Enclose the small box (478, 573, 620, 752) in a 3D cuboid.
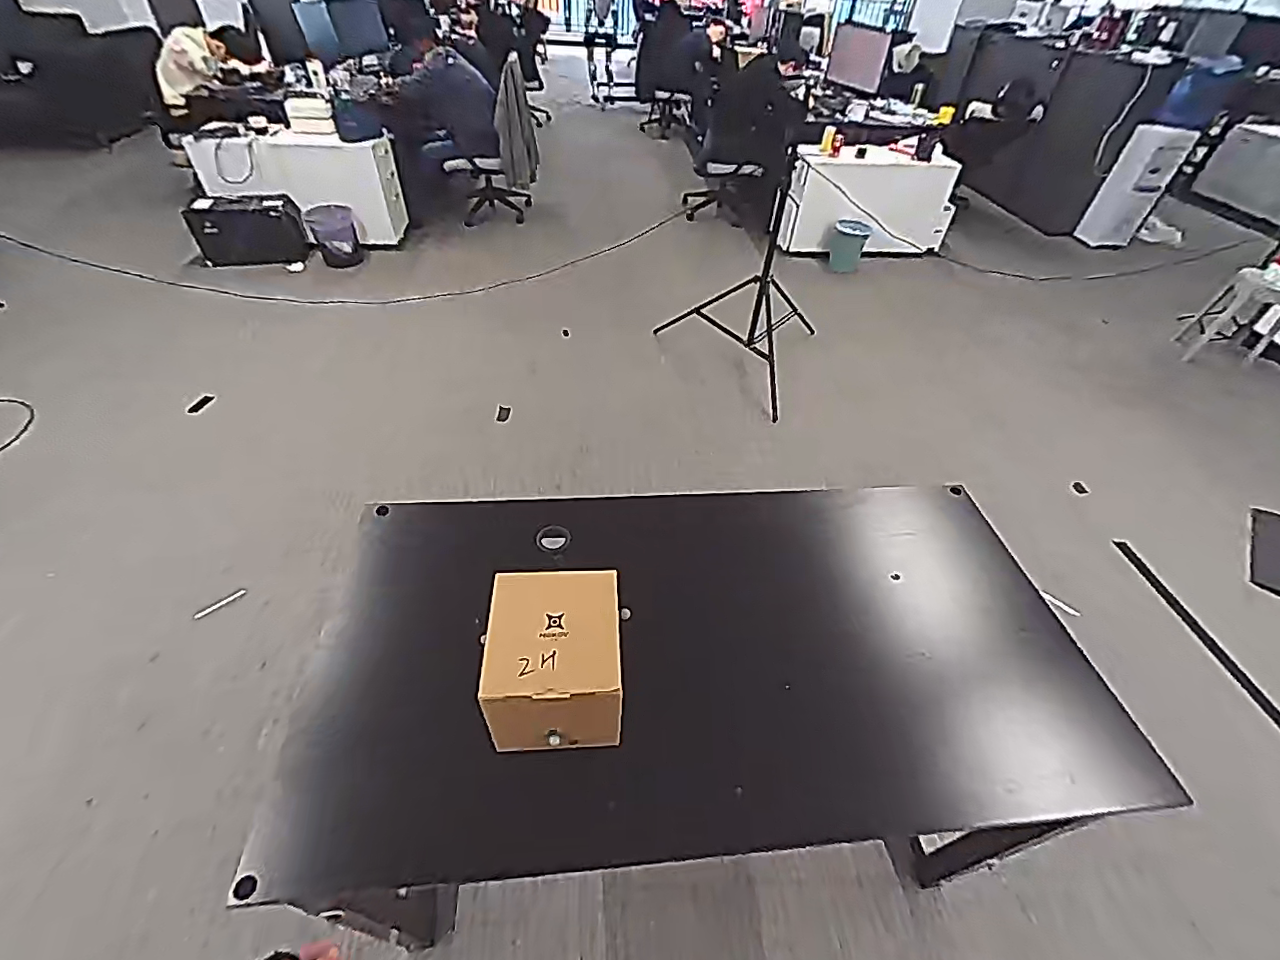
[{"bbox_3d":[-0.114,0.247,0.738,0.168,0.176,0.179,-1,44,-4],"label":"small box"}]
